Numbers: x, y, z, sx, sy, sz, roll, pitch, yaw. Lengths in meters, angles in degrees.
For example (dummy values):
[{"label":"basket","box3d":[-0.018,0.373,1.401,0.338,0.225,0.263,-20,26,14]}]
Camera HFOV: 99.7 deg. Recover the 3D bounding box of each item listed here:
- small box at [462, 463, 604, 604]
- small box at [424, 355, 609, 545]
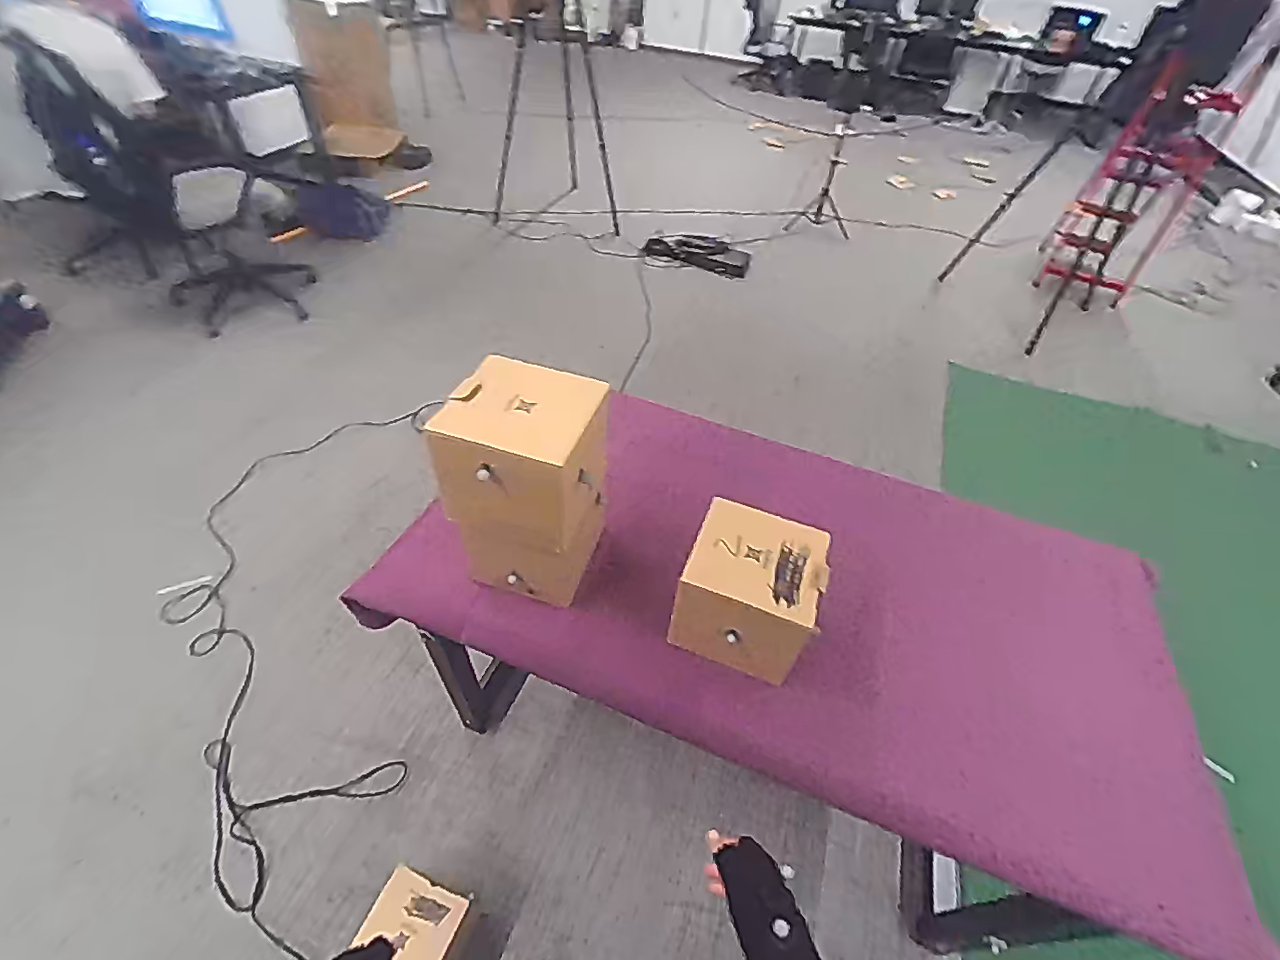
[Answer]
[{"label":"small box","box3d":[-0.166,0.062,0.855,0.168,0.176,0.179,16,47,8]},{"label":"small box","box3d":[-0.153,-0.036,0.725,0.179,0.176,0.168,16,48,8]}]
